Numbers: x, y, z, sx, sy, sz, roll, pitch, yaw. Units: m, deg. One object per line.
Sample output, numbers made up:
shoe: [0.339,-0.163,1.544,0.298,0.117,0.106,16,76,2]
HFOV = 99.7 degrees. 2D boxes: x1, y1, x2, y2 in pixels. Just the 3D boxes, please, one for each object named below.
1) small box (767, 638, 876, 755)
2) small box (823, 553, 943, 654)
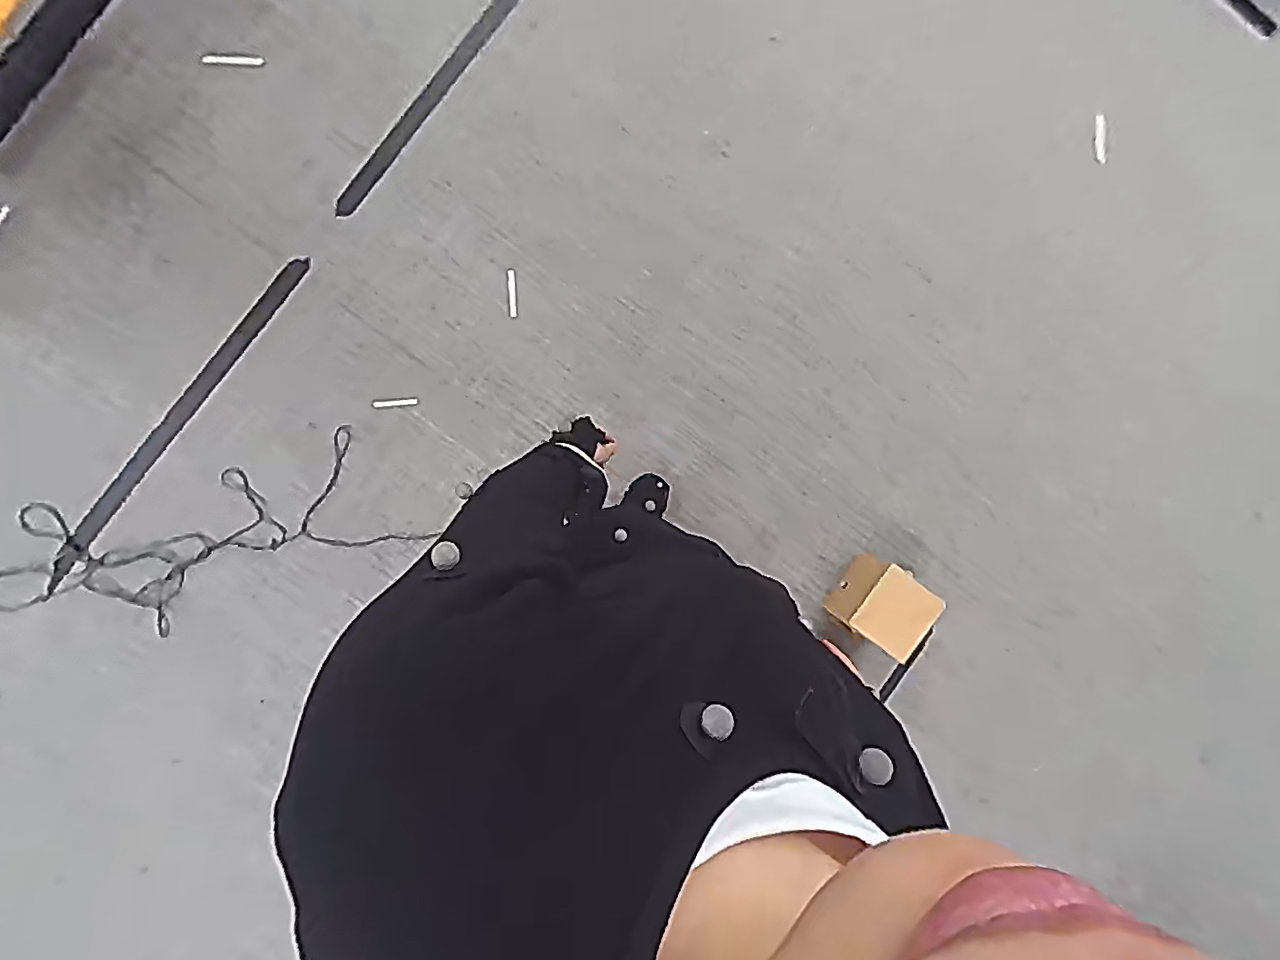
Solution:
small box: [0.434,0.523,1.332,0.168,0.176,0.179,33,89,-3]
small box: [0.592,0.304,1.330,0.168,0.176,0.179,38,90,-3]
